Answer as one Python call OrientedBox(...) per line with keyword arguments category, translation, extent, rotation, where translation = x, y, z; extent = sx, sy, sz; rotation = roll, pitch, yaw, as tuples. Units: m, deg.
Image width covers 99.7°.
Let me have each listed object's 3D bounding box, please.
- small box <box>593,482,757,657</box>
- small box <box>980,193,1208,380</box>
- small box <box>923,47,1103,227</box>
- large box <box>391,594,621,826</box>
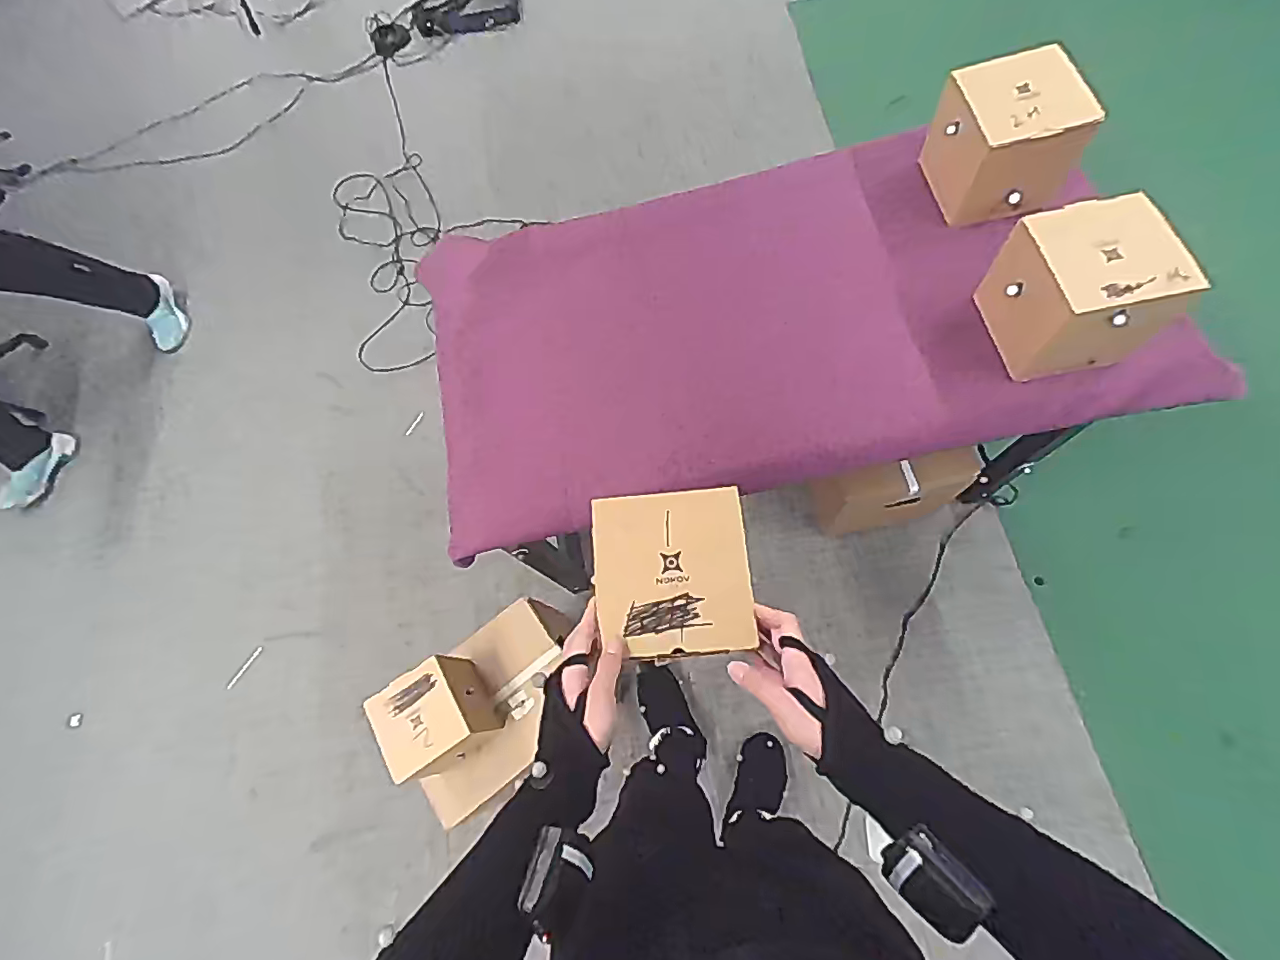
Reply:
OrientedBox(category="small box", translation=(0.041, 0.116, 0.650), extent=(0.168, 0.176, 0.179), rotation=(-6, 70, 3))
OrientedBox(category="small box", translation=(0.640, -0.276, 0.795), extent=(0.168, 0.176, 0.179), rotation=(-11, 66, 6))
OrientedBox(category="small box", translation=(0.606, -0.567, 0.910), extent=(0.168, 0.176, 0.179), rotation=(-11, 69, 7))
OrientedBox(category="large box", translation=(-0.309, 0.552, 1.340), extent=(0.408, 0.320, 0.320), rotation=(-38, 69, -8))
